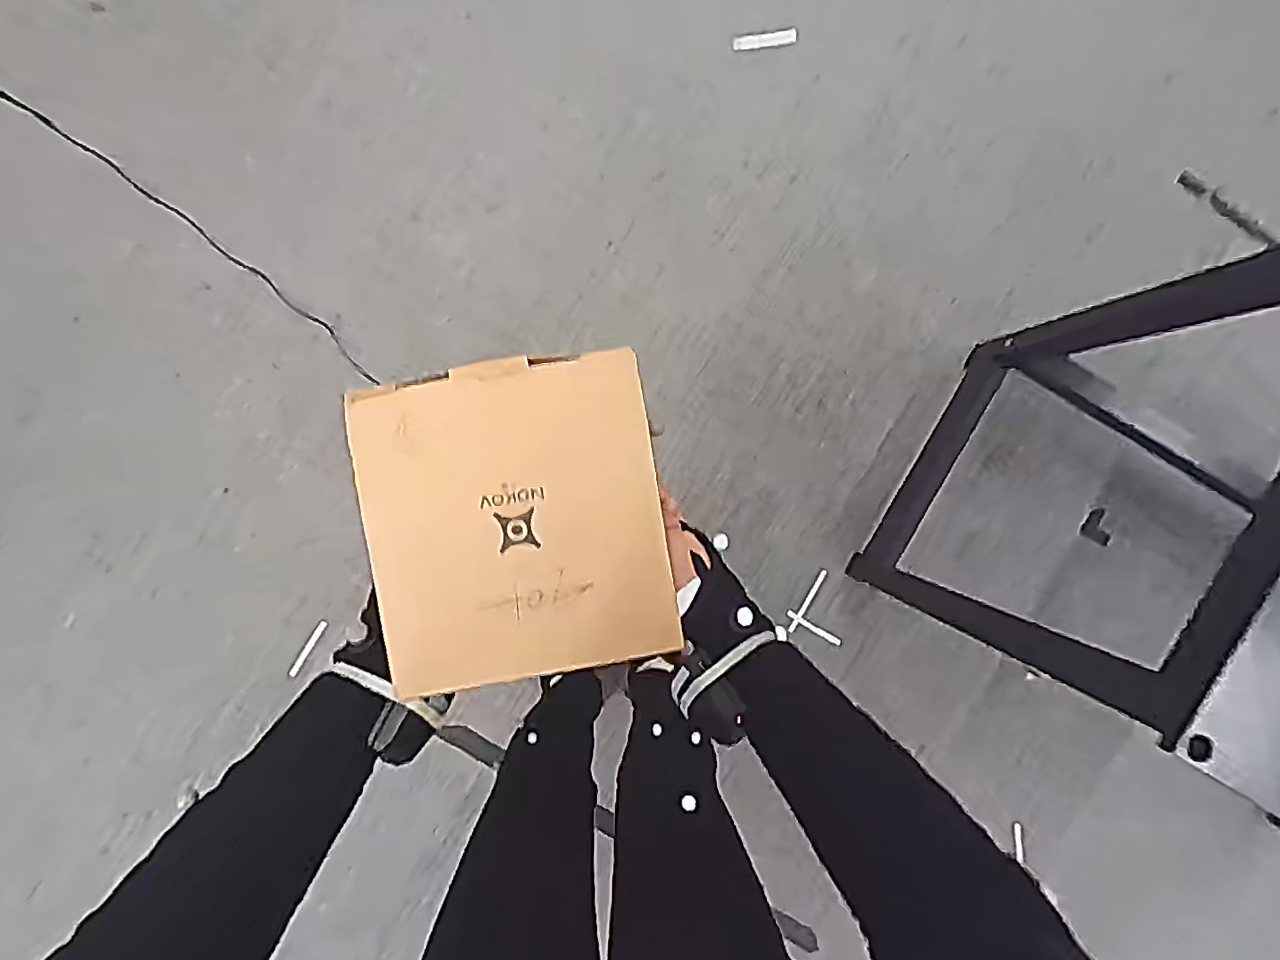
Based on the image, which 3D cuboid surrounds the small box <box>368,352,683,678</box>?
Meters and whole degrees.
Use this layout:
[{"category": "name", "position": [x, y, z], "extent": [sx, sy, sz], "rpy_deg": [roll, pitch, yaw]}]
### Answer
[{"category": "small box", "position": [-0.070, 0.019, 0.402], "extent": [0.168, 0.176, 0.179], "rpy_deg": [-10, 93, -2]}]
